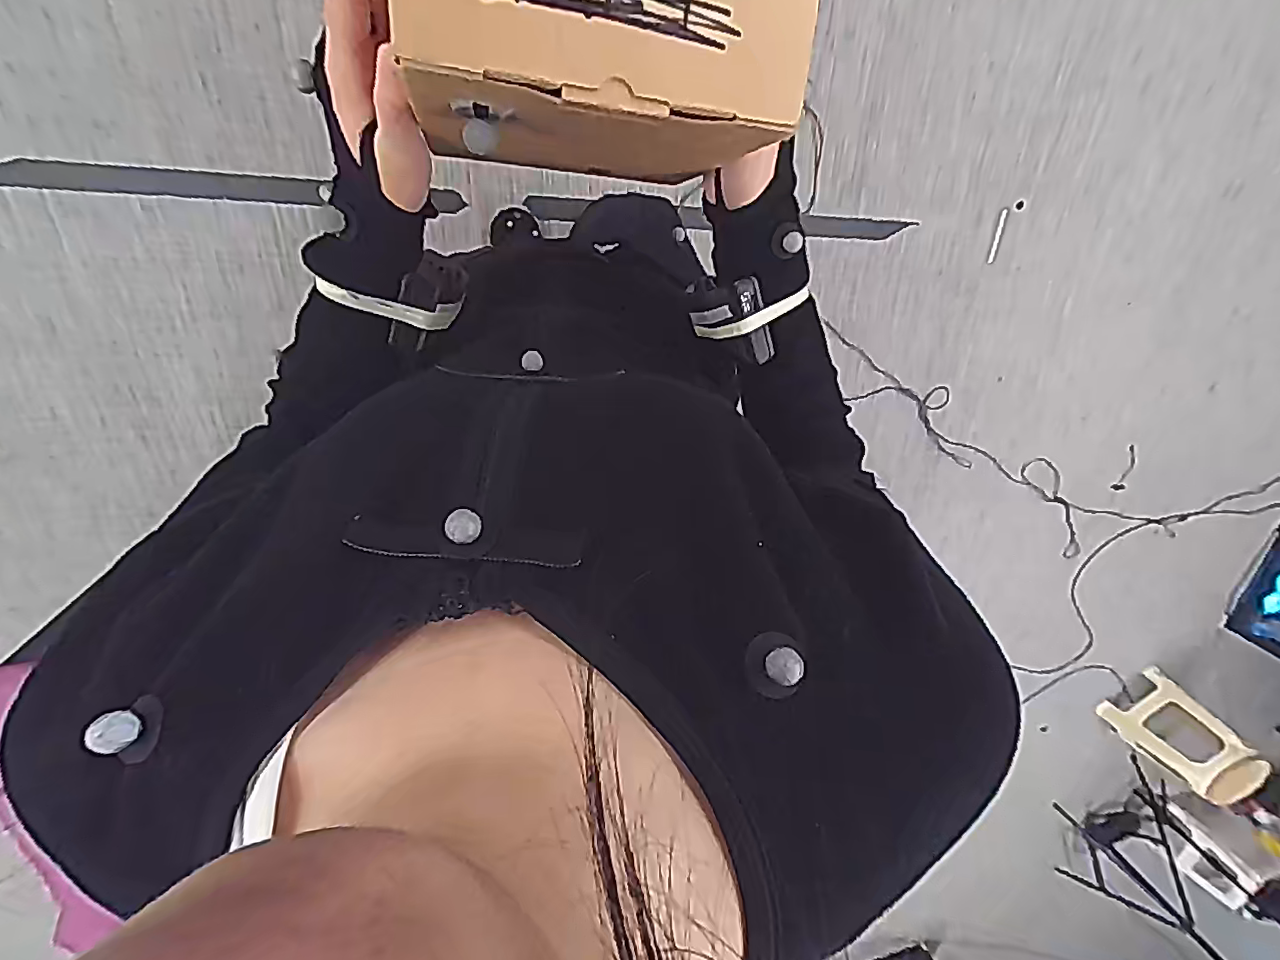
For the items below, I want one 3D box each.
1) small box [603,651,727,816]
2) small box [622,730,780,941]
[{"bbox_3d":[0.034,0.415,0.897,0.168,0.176,0.179,-6,116,-12],"label":"small box"},{"bbox_3d":[0.071,0.484,0.755,0.179,0.176,0.168,-7,118,-12],"label":"small box"}]
